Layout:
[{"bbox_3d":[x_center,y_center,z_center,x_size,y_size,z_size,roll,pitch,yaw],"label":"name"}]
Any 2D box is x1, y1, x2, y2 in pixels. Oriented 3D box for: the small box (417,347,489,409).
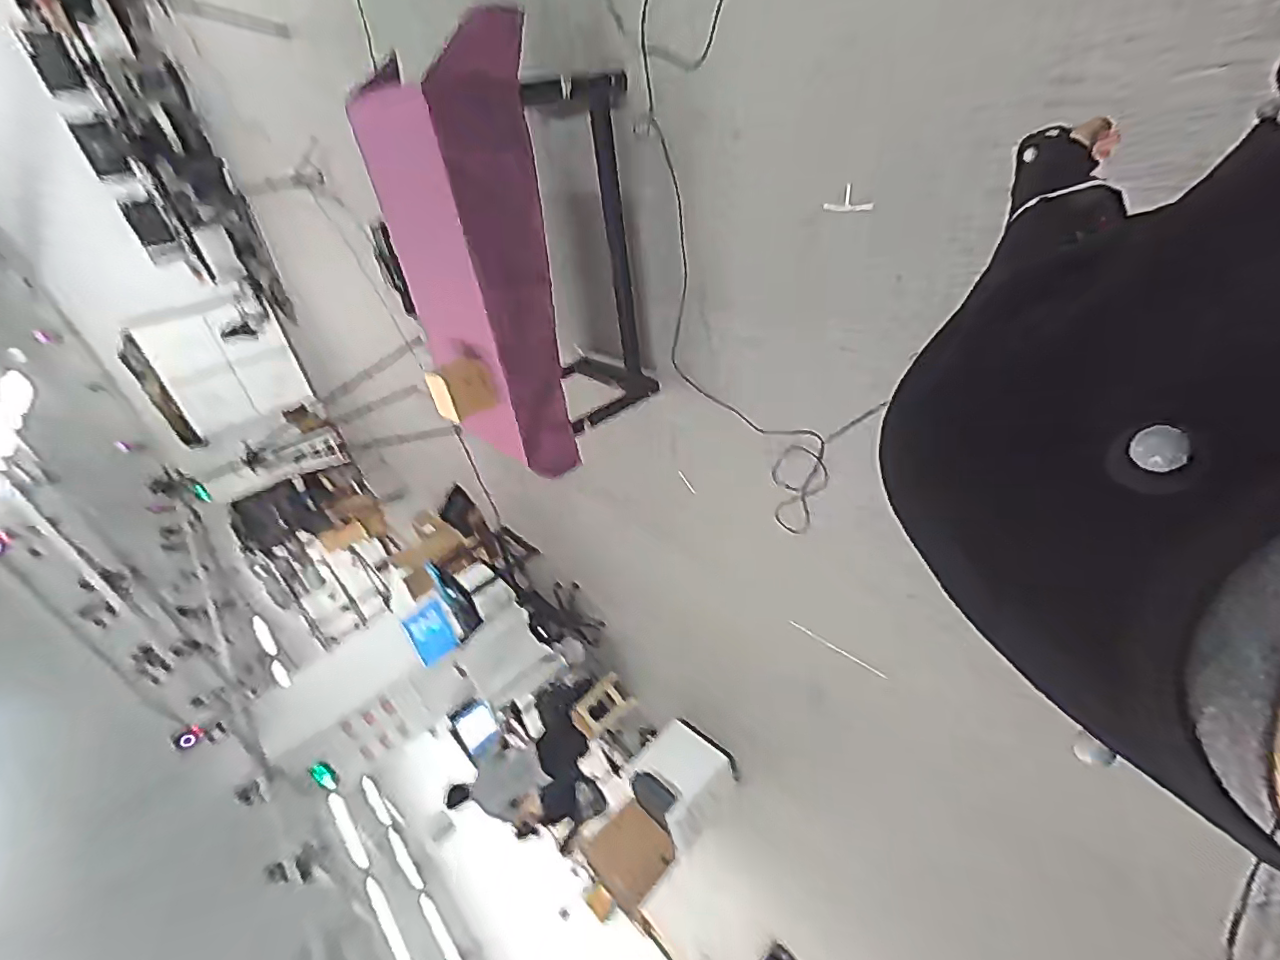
[{"bbox_3d":[-0.669,-0.374,1.958,0.179,0.176,0.168,22,133,45],"label":"small box"}]
